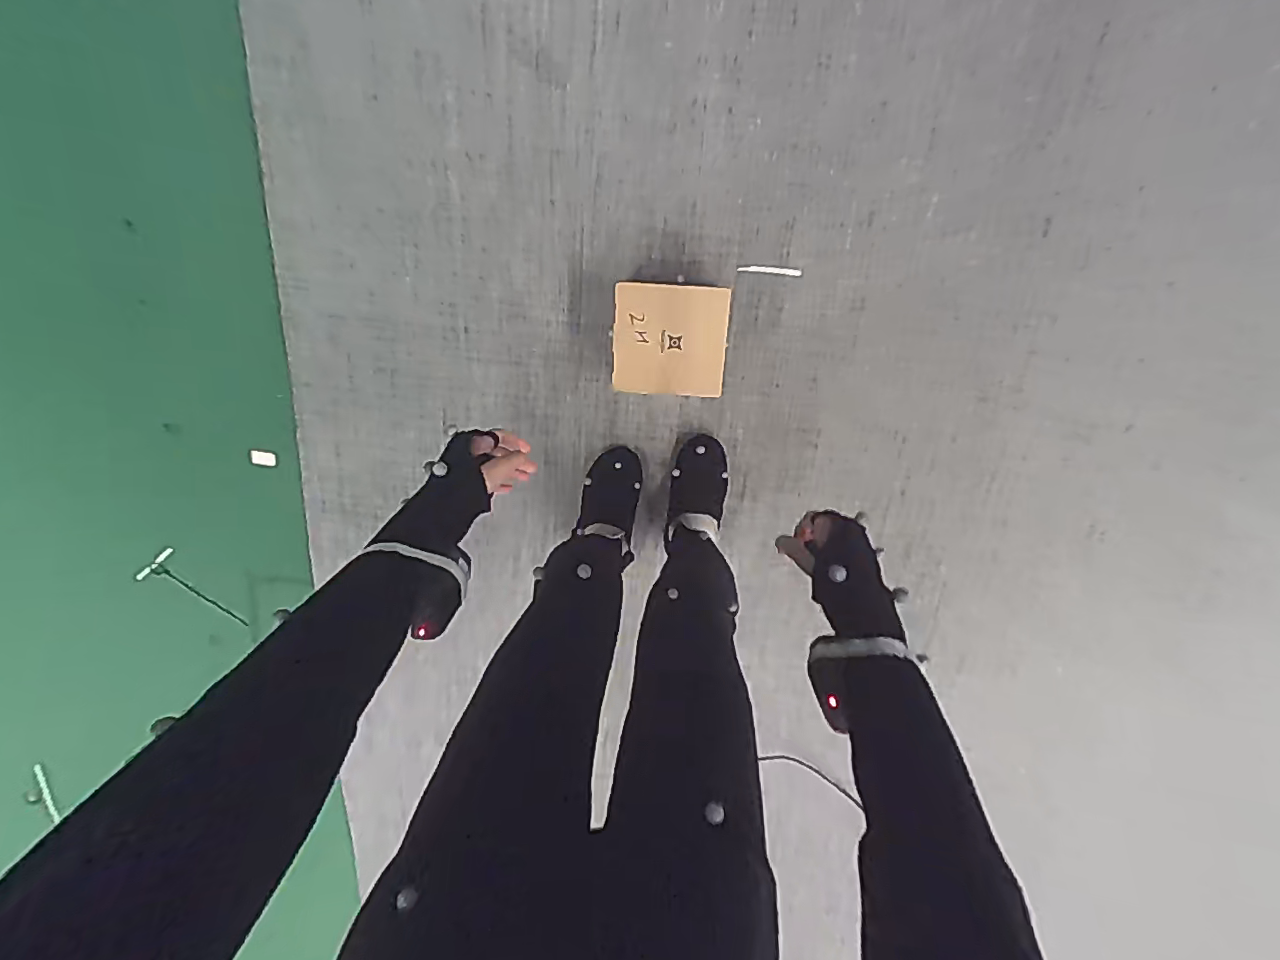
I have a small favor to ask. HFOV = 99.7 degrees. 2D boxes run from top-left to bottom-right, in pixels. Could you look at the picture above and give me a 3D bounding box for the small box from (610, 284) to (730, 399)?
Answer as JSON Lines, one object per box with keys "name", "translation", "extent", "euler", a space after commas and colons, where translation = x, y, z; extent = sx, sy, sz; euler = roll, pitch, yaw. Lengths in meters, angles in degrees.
{"name": "small box", "translation": [0.046, -0.236, 0.907], "extent": [0.179, 0.176, 0.168], "euler": [4, 108, 1]}
